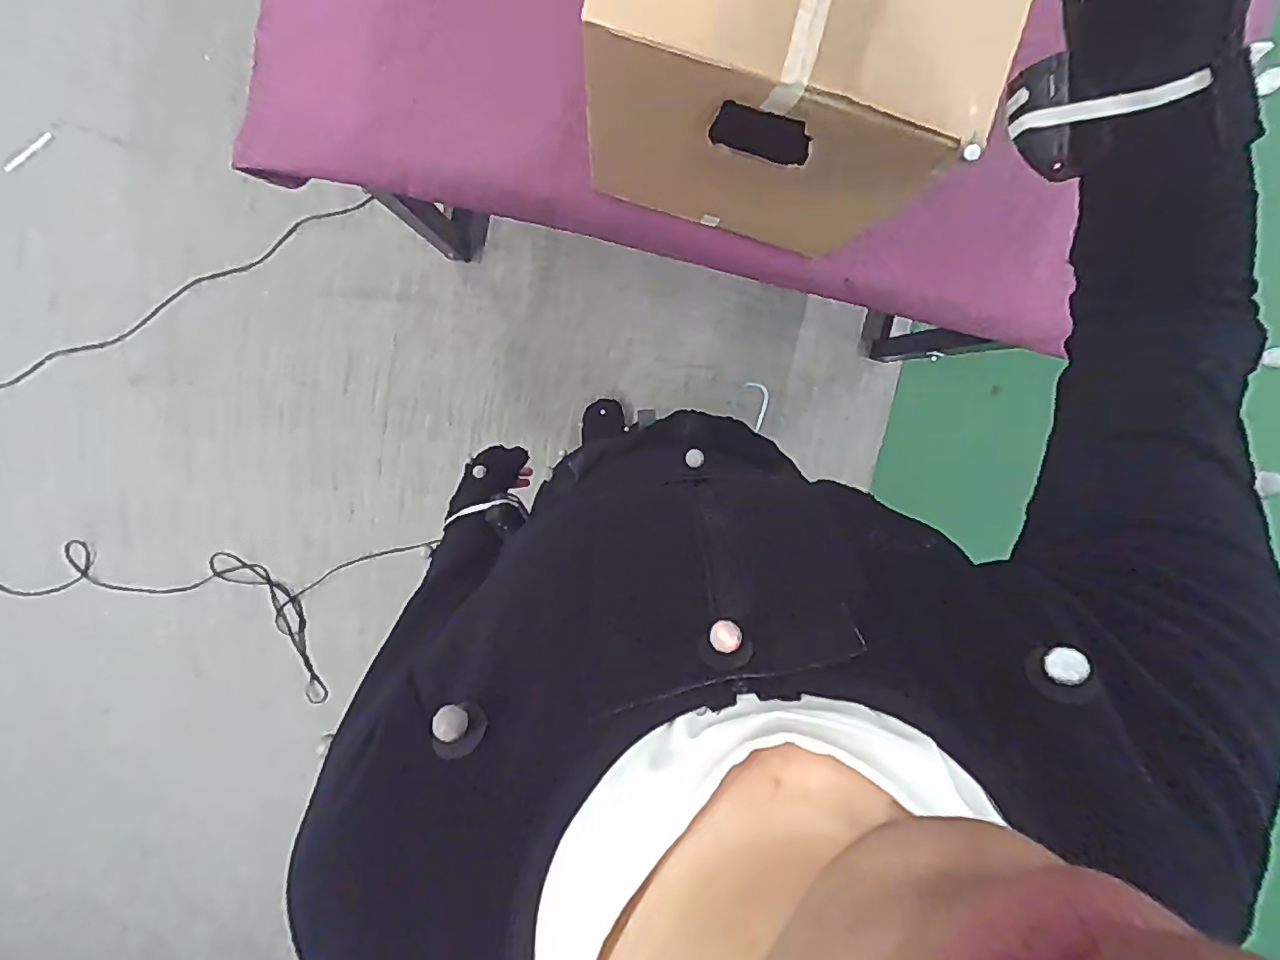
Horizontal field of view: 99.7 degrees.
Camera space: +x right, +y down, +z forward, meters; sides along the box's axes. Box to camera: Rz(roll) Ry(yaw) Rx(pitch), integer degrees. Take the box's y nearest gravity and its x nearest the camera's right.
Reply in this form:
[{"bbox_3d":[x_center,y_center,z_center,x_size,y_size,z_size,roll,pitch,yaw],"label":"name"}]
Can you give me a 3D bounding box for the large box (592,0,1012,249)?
[{"bbox_3d":[0.145,-0.506,0.532,0.320,0.320,0.408,14,98,-6],"label":"large box"}]
